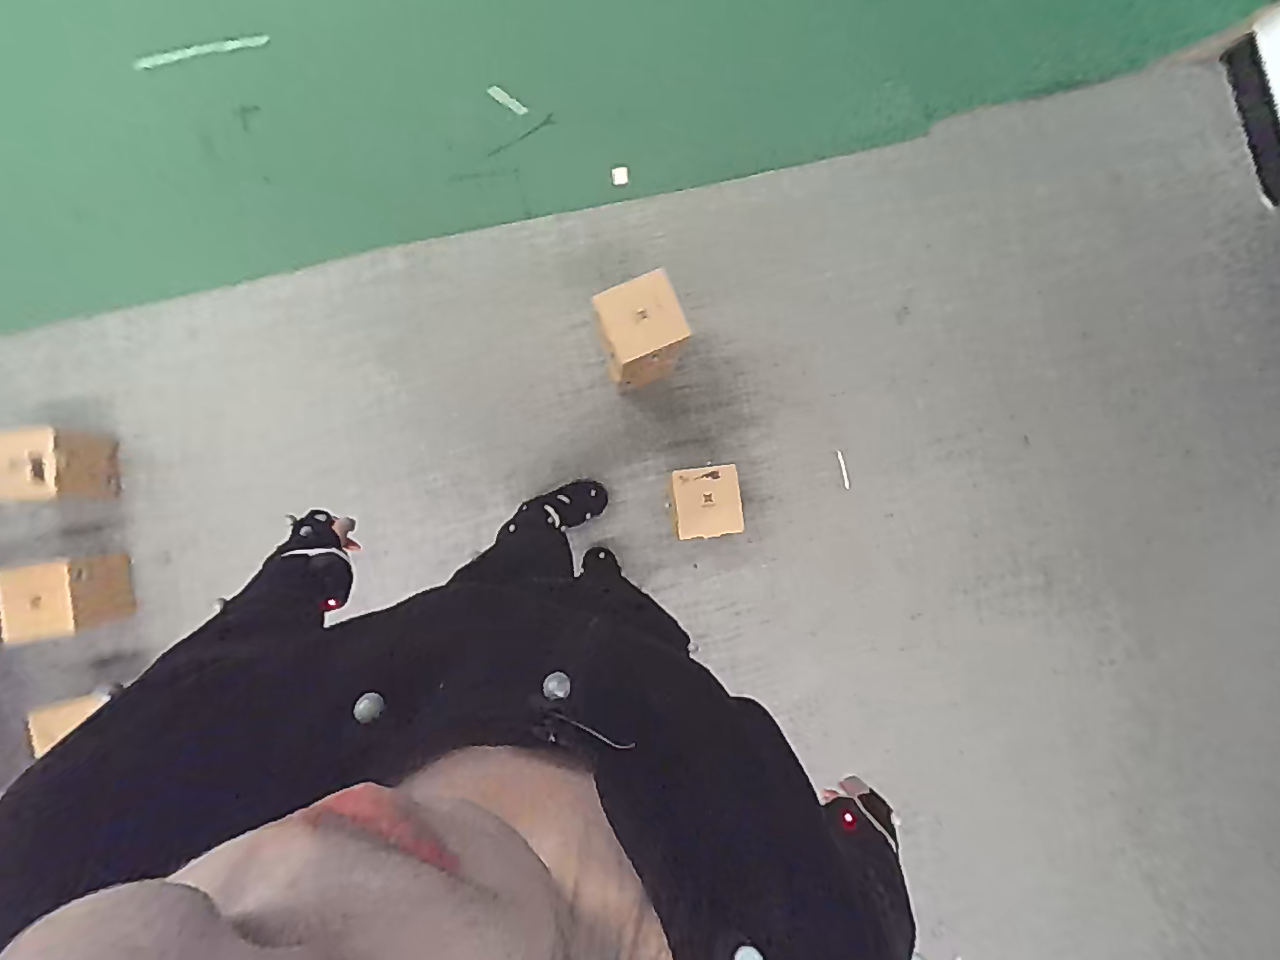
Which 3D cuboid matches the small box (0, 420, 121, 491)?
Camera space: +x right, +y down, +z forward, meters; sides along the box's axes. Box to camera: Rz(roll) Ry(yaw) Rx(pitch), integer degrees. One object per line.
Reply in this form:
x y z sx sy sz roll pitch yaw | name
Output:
-1.474 -0.059 1.373 0.179 0.176 0.168 -4 88 -1 | small box

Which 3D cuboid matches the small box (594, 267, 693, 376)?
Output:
0.006 -0.361 1.263 0.179 0.176 0.168 -23 90 -3 | small box

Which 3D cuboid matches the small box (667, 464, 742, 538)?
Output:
0.166 0.052 1.422 0.168 0.176 0.179 -5 89 -3 | small box
